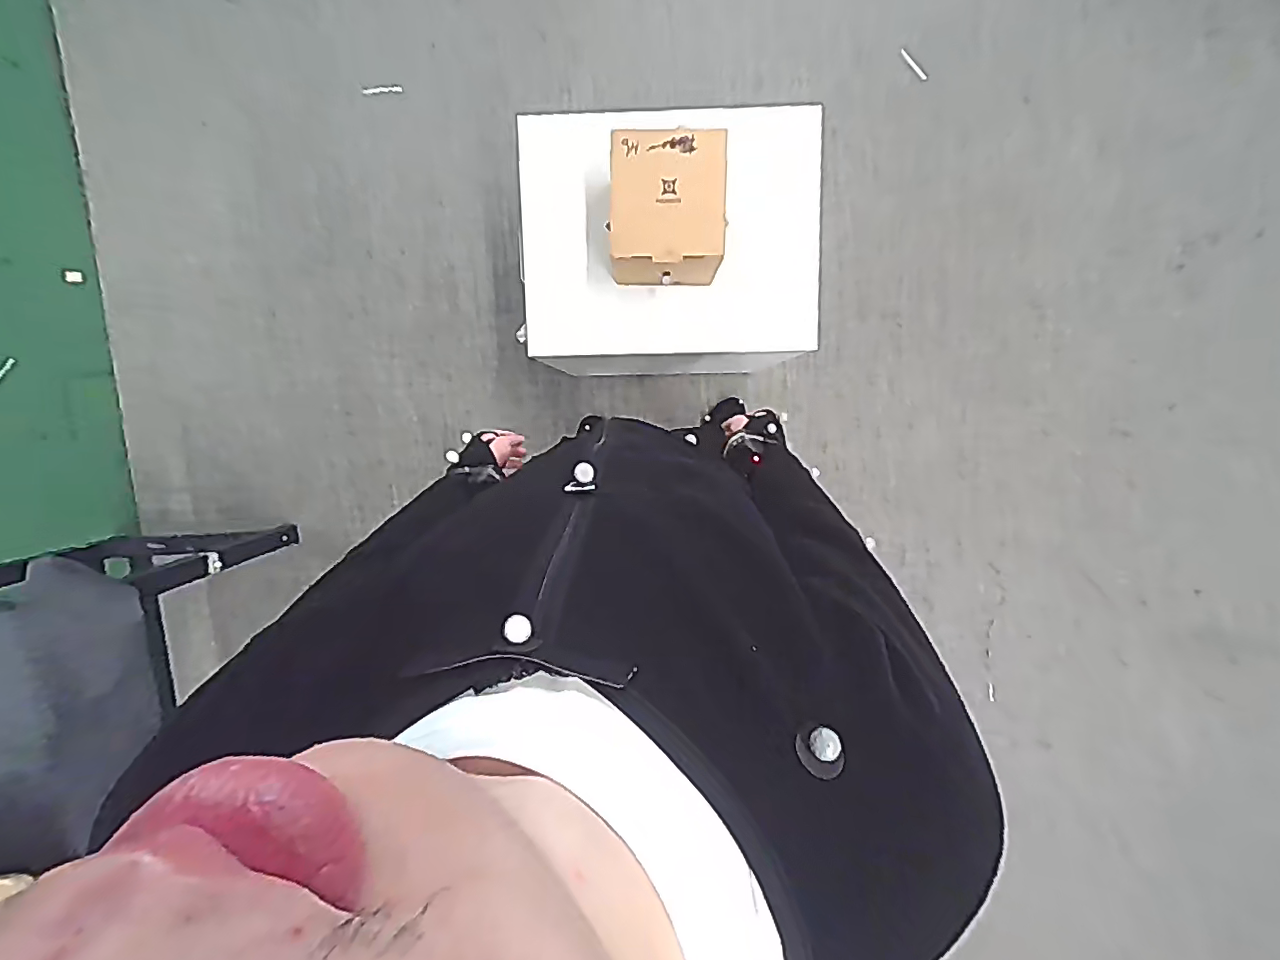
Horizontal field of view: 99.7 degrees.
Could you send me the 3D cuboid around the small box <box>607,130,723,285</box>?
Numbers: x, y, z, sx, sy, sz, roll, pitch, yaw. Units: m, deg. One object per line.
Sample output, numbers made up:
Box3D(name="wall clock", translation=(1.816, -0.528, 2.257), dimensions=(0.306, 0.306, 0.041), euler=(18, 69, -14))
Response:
Box3D(name="small box", translation=(0.039, -0.410, 0.844), dimensions=(0.168, 0.176, 0.179), euler=(-2, 96, 2))
